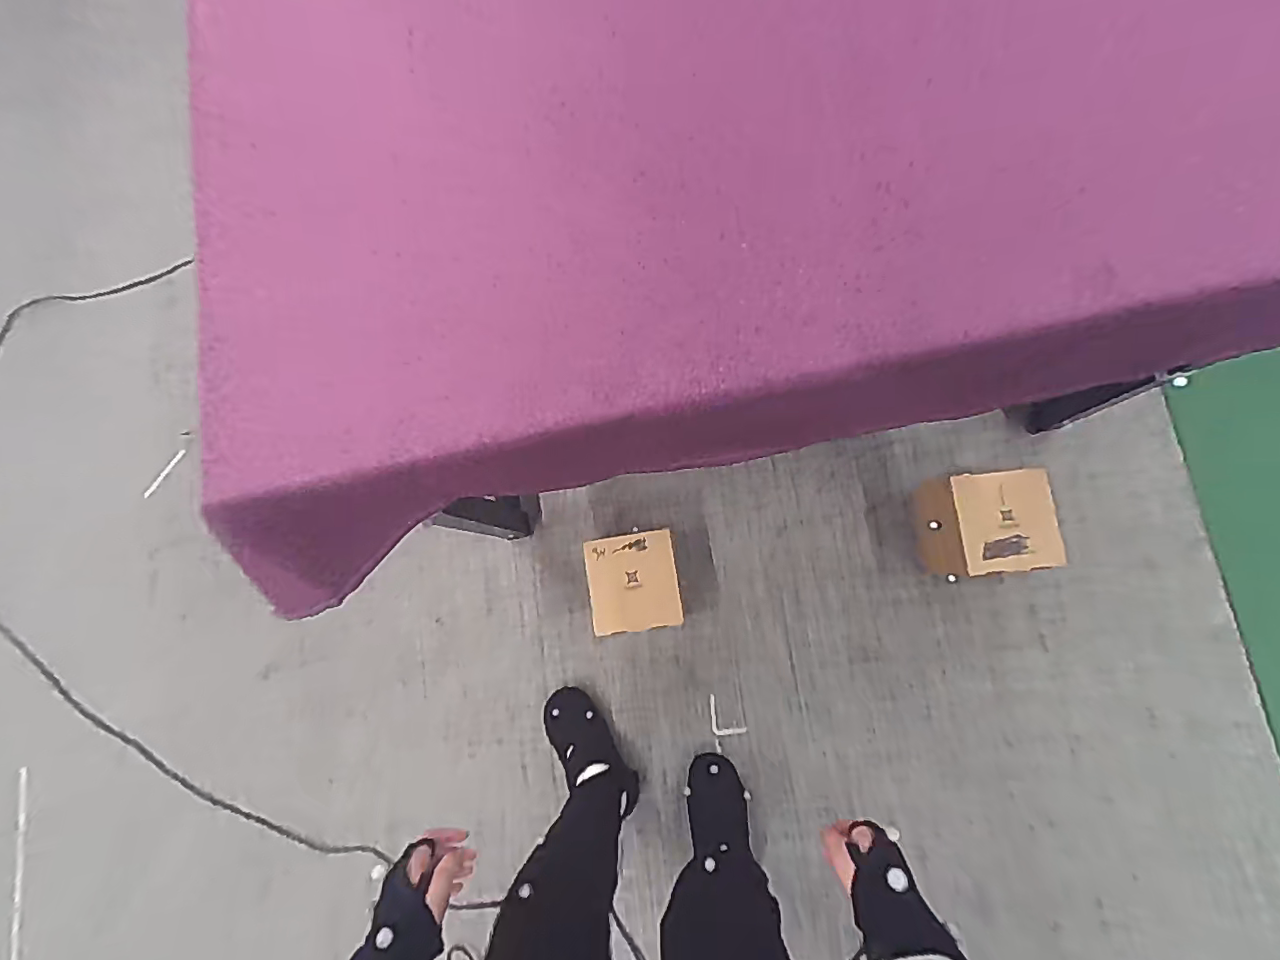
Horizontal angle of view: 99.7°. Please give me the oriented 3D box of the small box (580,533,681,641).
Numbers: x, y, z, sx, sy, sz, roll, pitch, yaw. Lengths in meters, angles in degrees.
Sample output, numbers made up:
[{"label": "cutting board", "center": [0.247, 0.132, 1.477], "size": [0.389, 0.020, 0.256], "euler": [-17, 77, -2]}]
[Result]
[{"label": "small box", "center": [-0.012, 0.206, 1.065], "size": [0.168, 0.176, 0.179], "euler": [-10, 80, 3]}]
